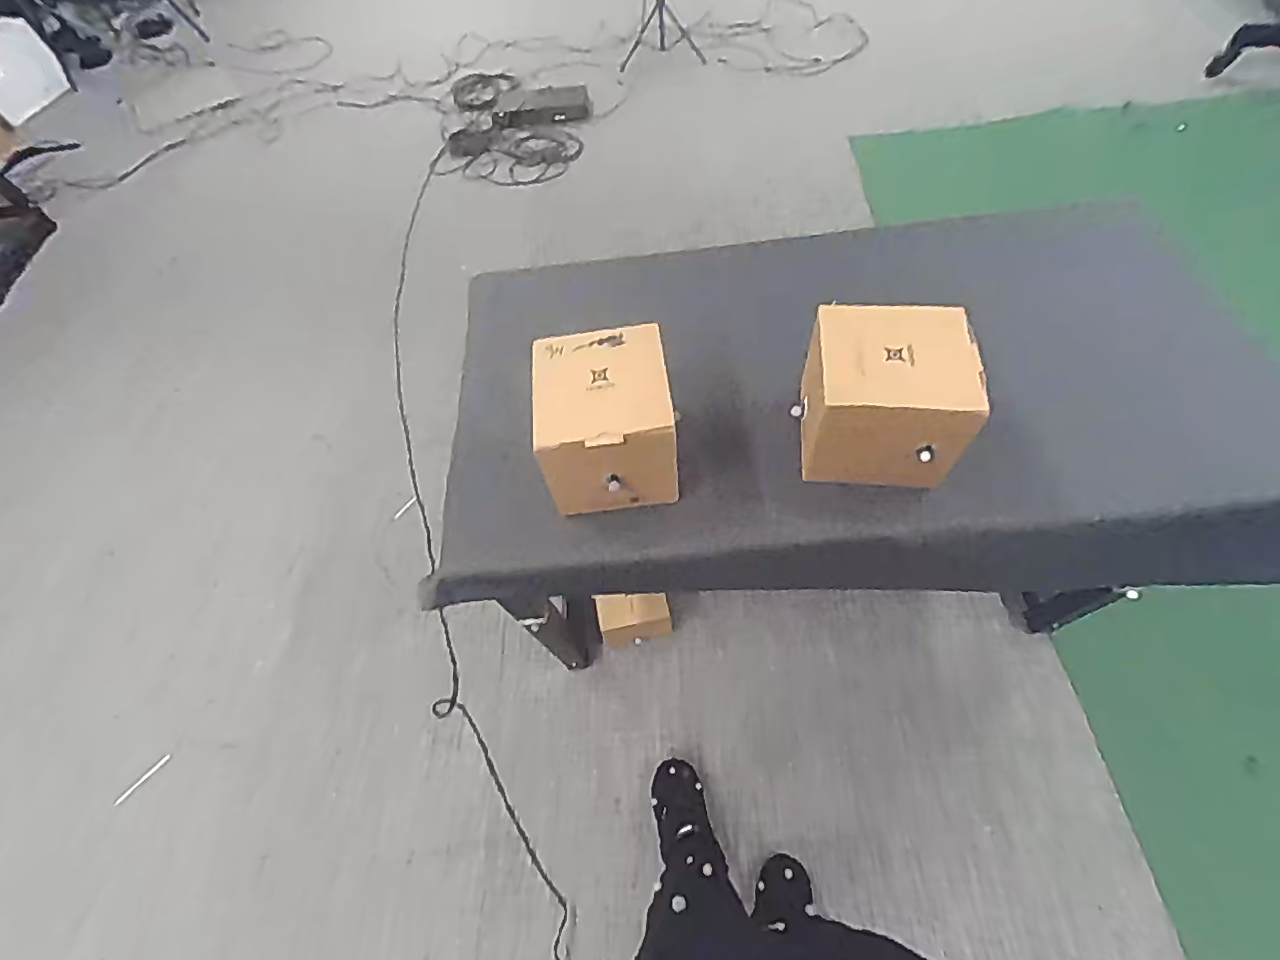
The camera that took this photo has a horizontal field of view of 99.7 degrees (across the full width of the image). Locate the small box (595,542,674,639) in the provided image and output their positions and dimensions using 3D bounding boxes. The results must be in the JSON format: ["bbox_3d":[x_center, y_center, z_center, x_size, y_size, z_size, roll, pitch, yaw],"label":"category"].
[{"bbox_3d":[-0.013,0.281,1.359,0.168,0.176,0.179,-12,61,-1],"label":"small box"}]

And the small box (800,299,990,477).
[{"bbox_3d":[0.314,-0.114,0.708,0.179,0.176,0.168,2,59,9],"label":"small box"}]

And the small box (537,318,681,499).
[{"bbox_3d":[-0.037,-0.085,0.726,0.168,0.176,0.179,-8,59,1],"label":"small box"}]
